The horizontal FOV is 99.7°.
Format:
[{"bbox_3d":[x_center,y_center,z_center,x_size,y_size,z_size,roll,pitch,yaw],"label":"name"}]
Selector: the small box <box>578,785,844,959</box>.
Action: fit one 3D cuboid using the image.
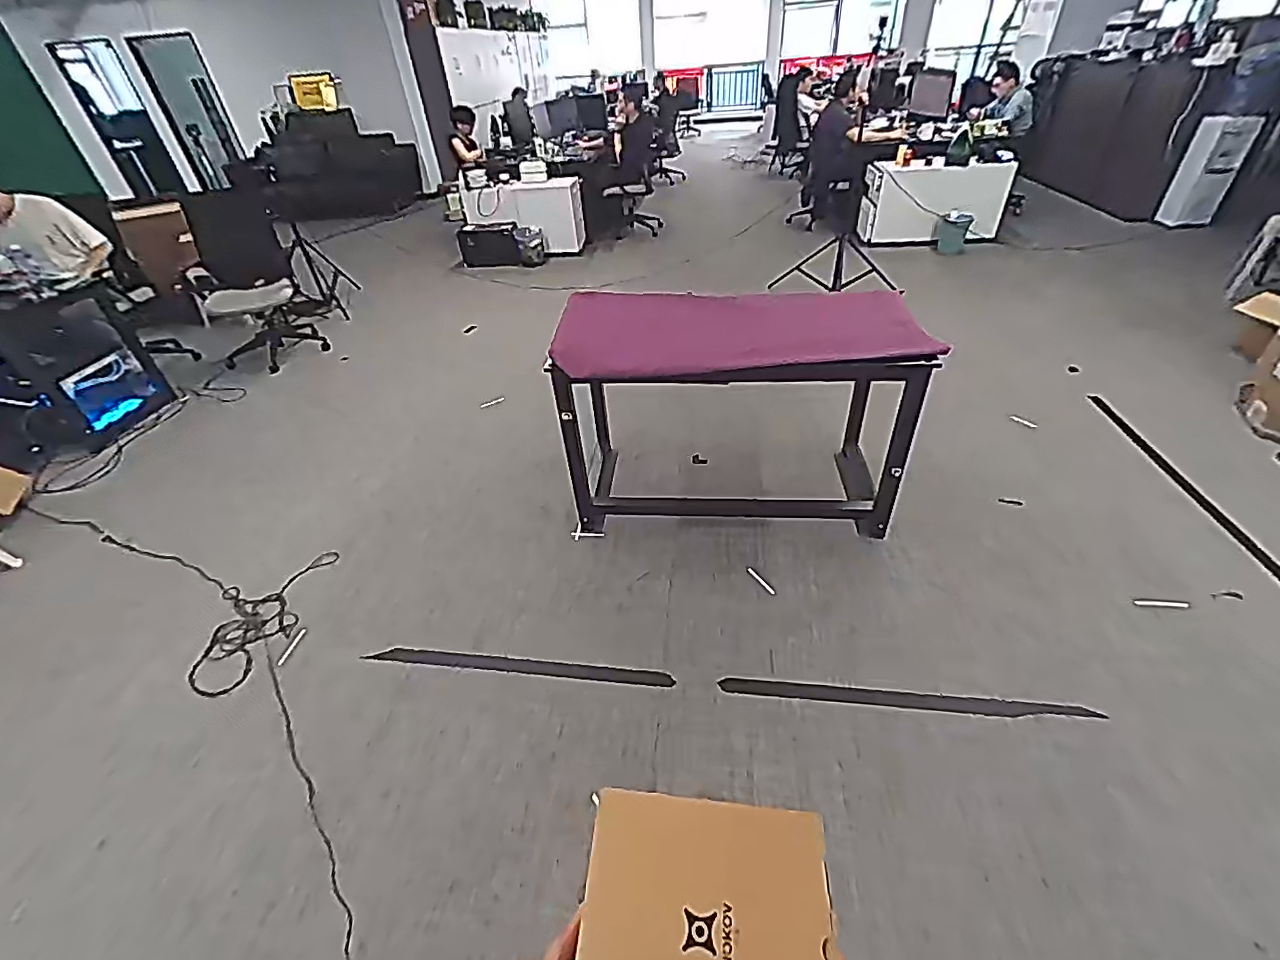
[{"bbox_3d":[0.050,0.363,0.421,0.179,0.176,0.168,4,44,5],"label":"small box"}]
